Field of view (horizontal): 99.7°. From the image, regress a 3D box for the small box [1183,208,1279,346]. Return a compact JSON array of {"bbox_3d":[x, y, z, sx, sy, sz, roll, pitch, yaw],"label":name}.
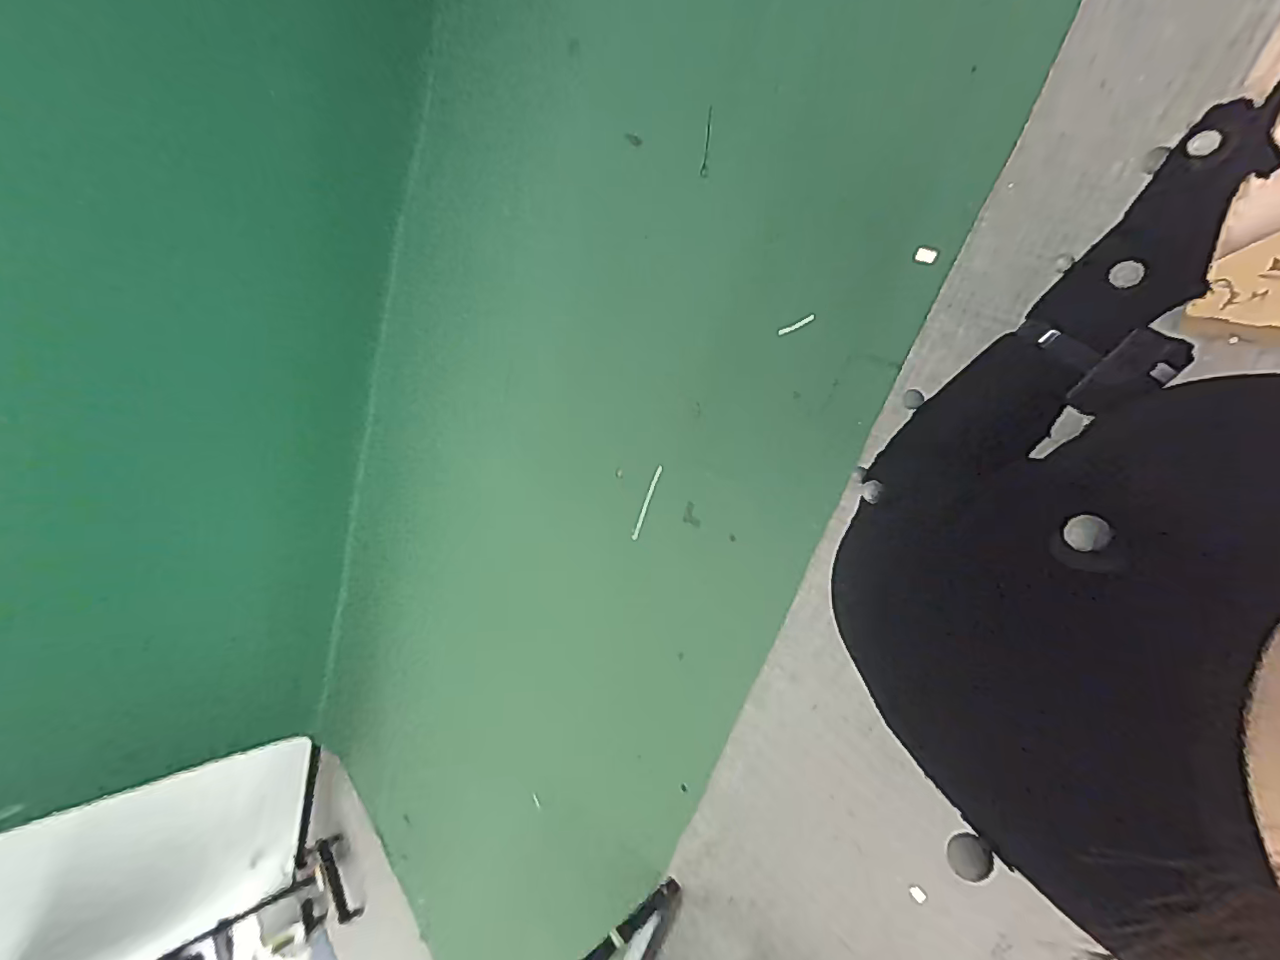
[{"bbox_3d":[1.100,-0.350,0.946,0.168,0.176,0.179,28,109,38],"label":"small box"}]
